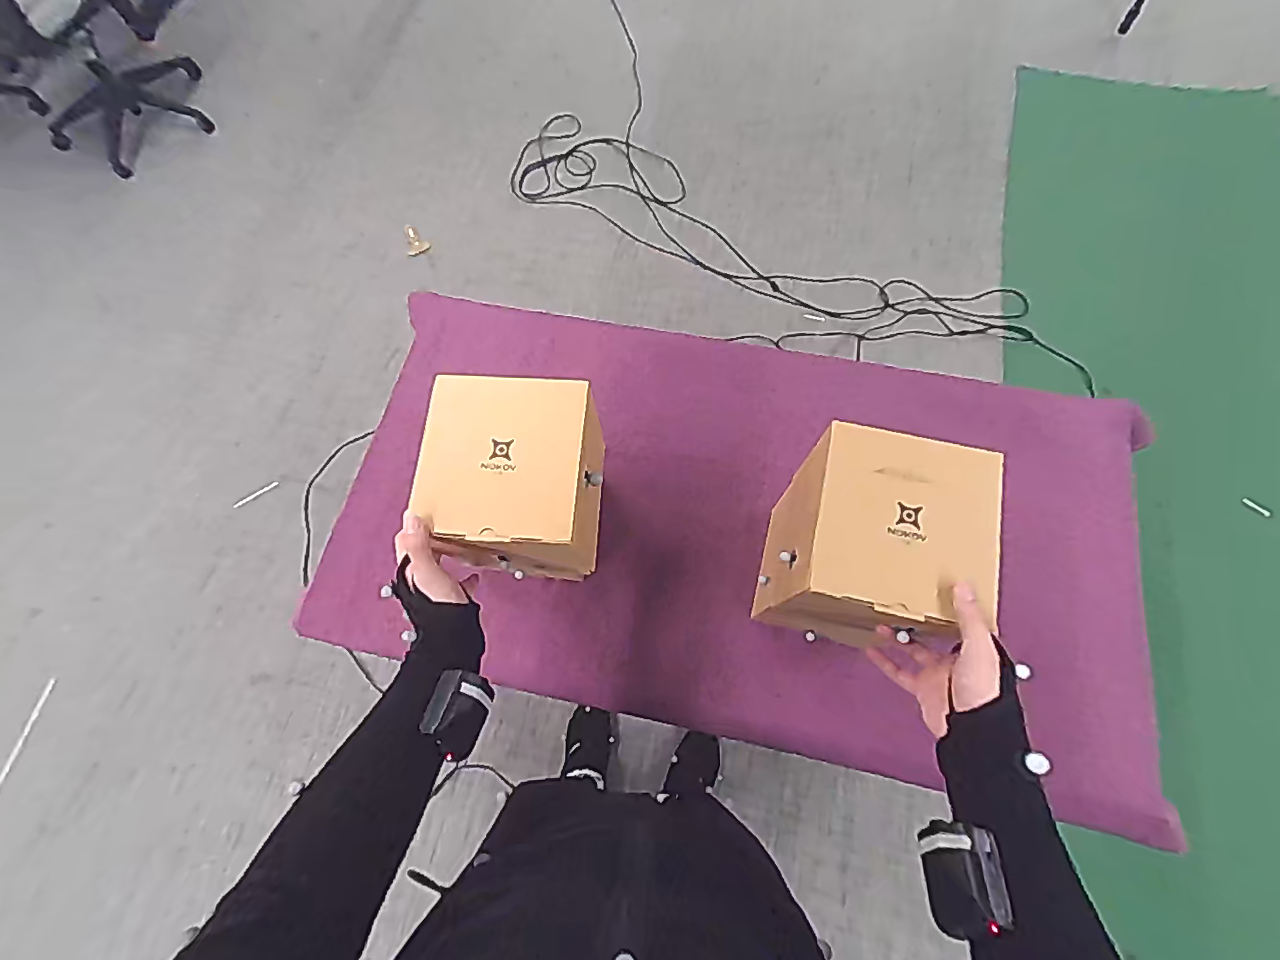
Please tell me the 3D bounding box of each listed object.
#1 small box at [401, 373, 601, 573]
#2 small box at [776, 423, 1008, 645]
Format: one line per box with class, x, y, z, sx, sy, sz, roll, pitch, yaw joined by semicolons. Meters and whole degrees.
small box;-0.138;0.001;0.609;0.168;0.176;0.179;3;72;3
small box;0.250;0.067;0.570;0.168;0.176;0.179;13;71;6
